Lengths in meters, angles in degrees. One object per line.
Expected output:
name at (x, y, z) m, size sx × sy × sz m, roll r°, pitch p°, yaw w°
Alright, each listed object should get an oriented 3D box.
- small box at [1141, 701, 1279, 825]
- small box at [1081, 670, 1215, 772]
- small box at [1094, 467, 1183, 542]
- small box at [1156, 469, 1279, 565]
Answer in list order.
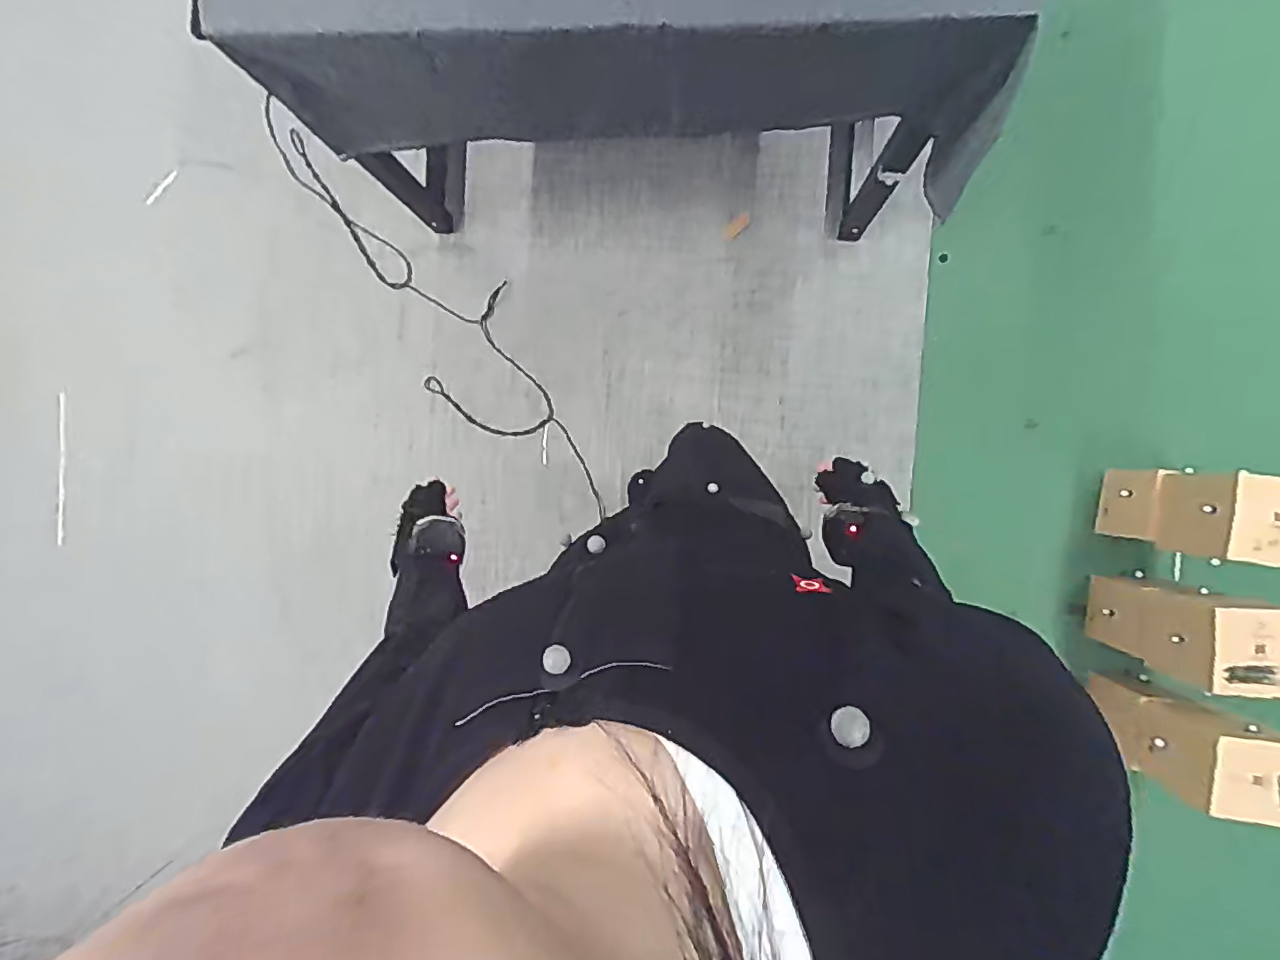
small box at (1.219, 0.584, 1.133) m, size 0.179 × 0.176 × 0.168 m, roll 5°, pitch 92°, yaw 5°
small box at (1.209, 0.580, 1.298) m, size 0.168 × 0.176 × 0.179 m, roll 7°, pitch 91°, yaw 5°
small box at (1.241, 0.064, 1.289) m, size 0.179 × 0.176 × 0.168 m, roll 8°, pitch 91°, yaw 5°
small box at (1.235, 0.075, 1.124) m, size 0.168 × 0.176 × 0.179 m, roll 7°, pitch 91°, yaw 5°
